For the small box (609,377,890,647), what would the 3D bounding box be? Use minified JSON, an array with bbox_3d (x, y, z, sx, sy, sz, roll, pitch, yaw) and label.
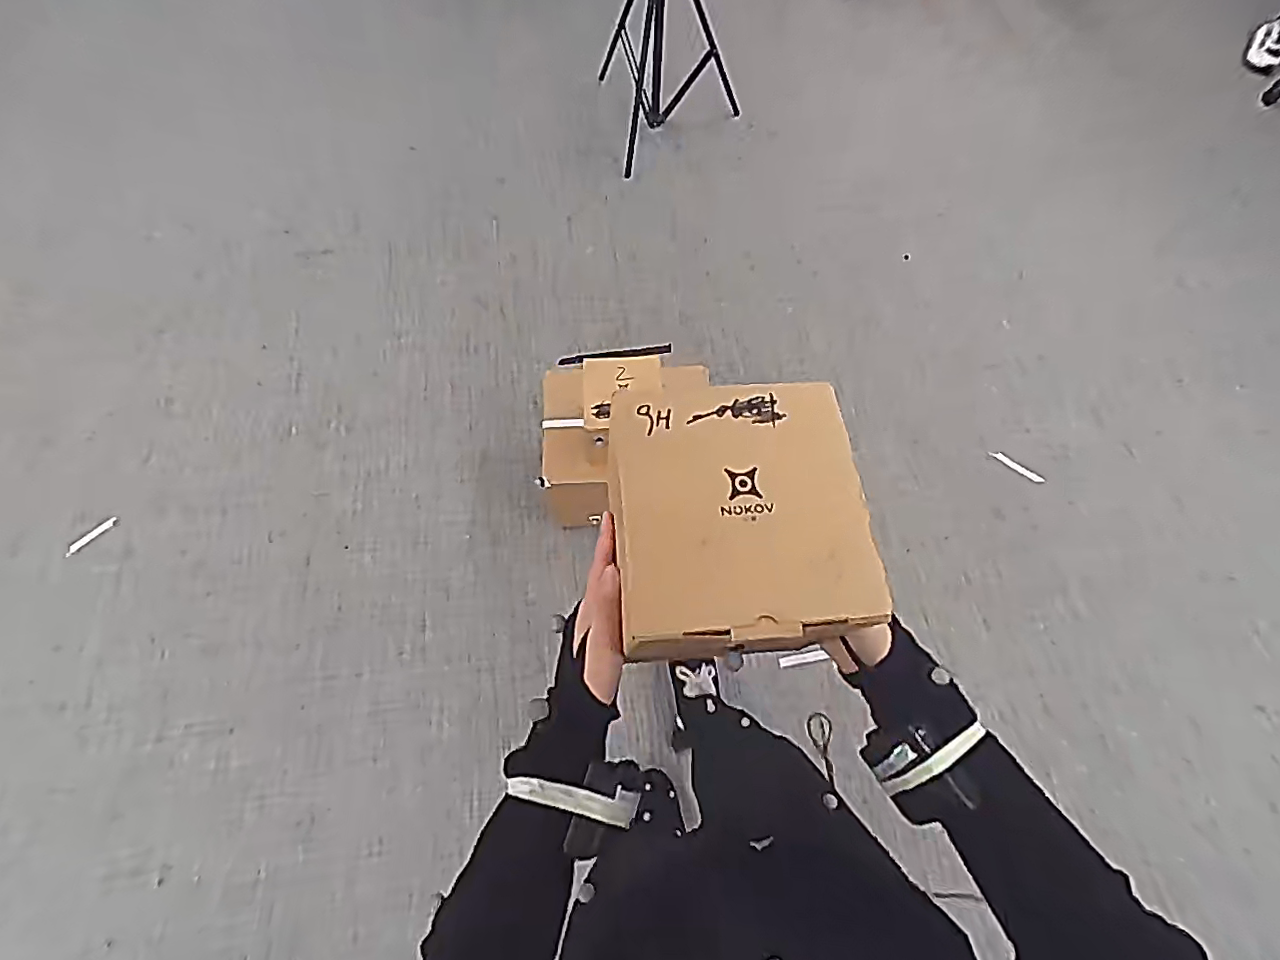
[{"bbox_3d":[0.064,0.037,0.434,0.168,0.176,0.179,-2,68,-7],"label":"small box"}]
